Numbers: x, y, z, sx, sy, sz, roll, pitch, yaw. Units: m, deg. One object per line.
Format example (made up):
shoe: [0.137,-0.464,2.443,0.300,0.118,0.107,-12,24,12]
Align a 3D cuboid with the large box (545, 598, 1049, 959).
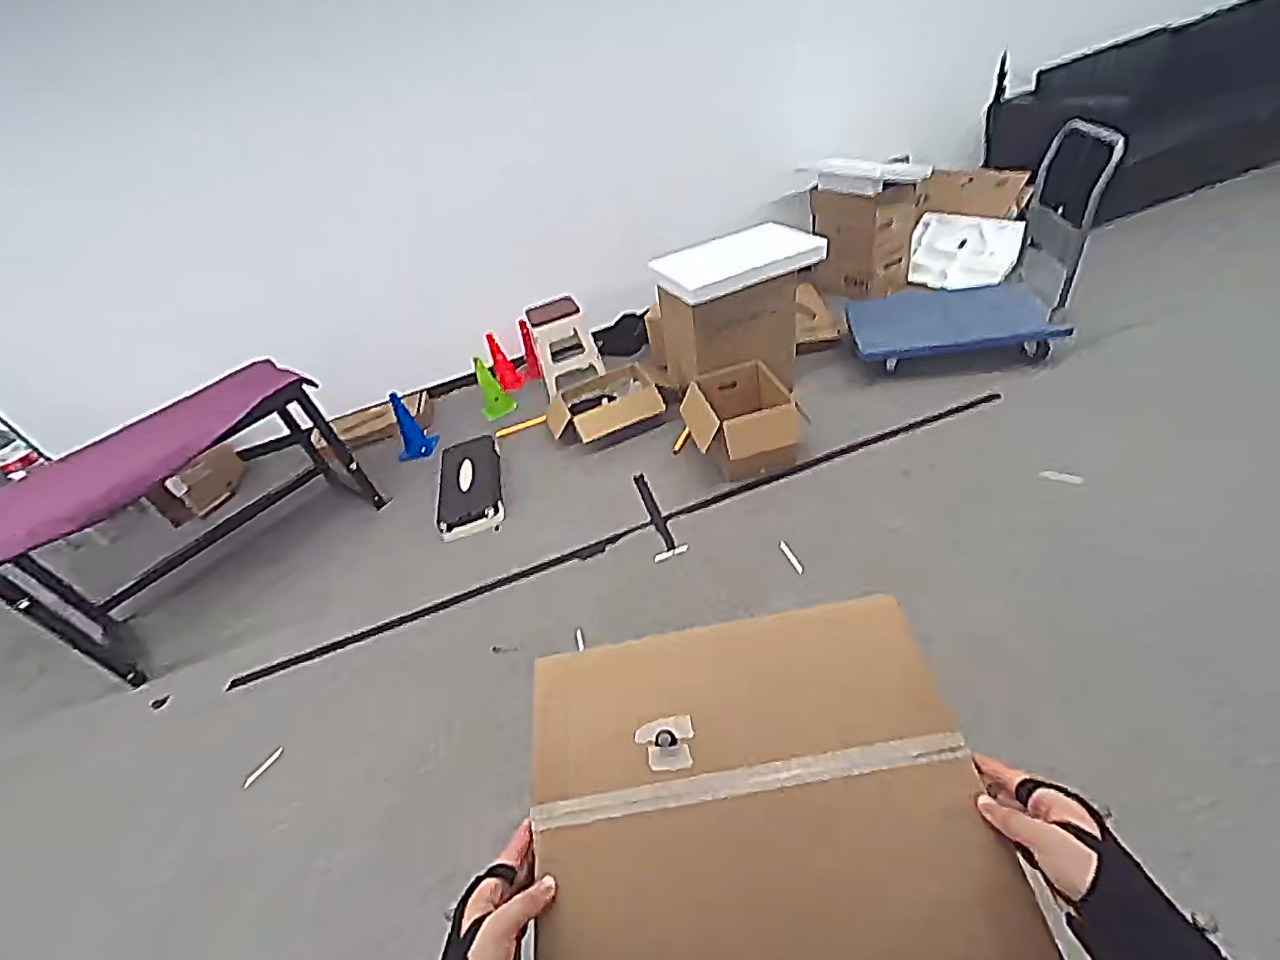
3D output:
large box: [0.131,0.380,0.630,0.408,0.320,0.320,-12,49,3]
